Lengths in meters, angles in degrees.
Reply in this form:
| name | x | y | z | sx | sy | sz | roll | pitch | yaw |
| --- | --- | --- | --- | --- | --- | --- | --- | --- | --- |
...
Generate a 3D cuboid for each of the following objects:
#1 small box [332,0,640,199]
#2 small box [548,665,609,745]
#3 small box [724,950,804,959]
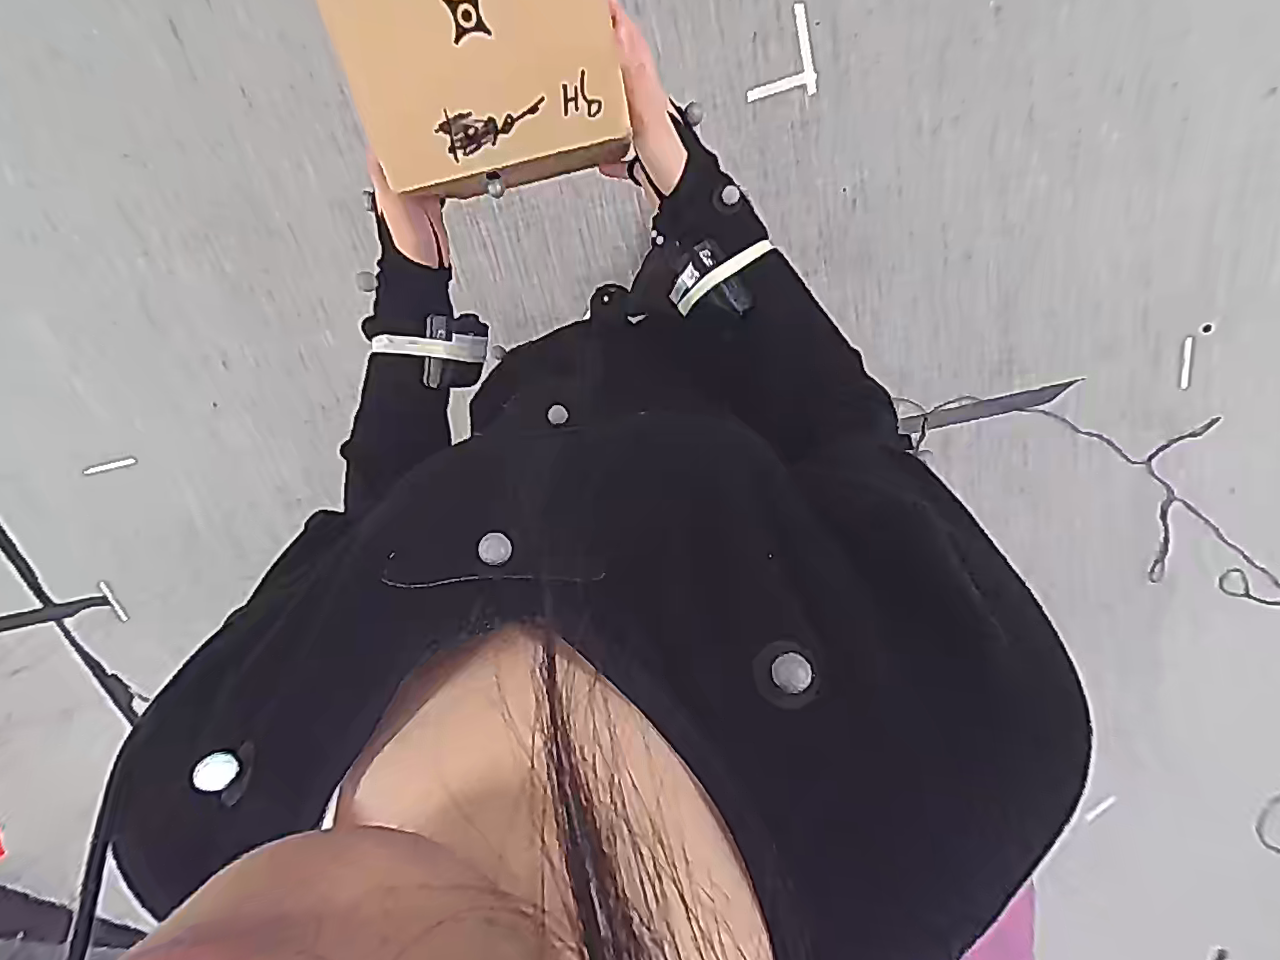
| name | x | y | z | sx | sy | sz | roll | pitch | yaw |
| --- | --- | --- | --- | --- | --- | --- | --- | --- | --- |
| small box | -0.100 | -0.316 | 0.385 | 0.168 | 0.176 | 0.179 | -12 | 116 | 3 |
| small box | -0.189 | 0.694 | 1.683 | 0.179 | 0.176 | 0.168 | 2 | 109 | -3 |
| small box | 0.261 | 1.051 | 1.044 | 0.168 | 0.176 | 0.179 | -12 | 111 | 4 |
